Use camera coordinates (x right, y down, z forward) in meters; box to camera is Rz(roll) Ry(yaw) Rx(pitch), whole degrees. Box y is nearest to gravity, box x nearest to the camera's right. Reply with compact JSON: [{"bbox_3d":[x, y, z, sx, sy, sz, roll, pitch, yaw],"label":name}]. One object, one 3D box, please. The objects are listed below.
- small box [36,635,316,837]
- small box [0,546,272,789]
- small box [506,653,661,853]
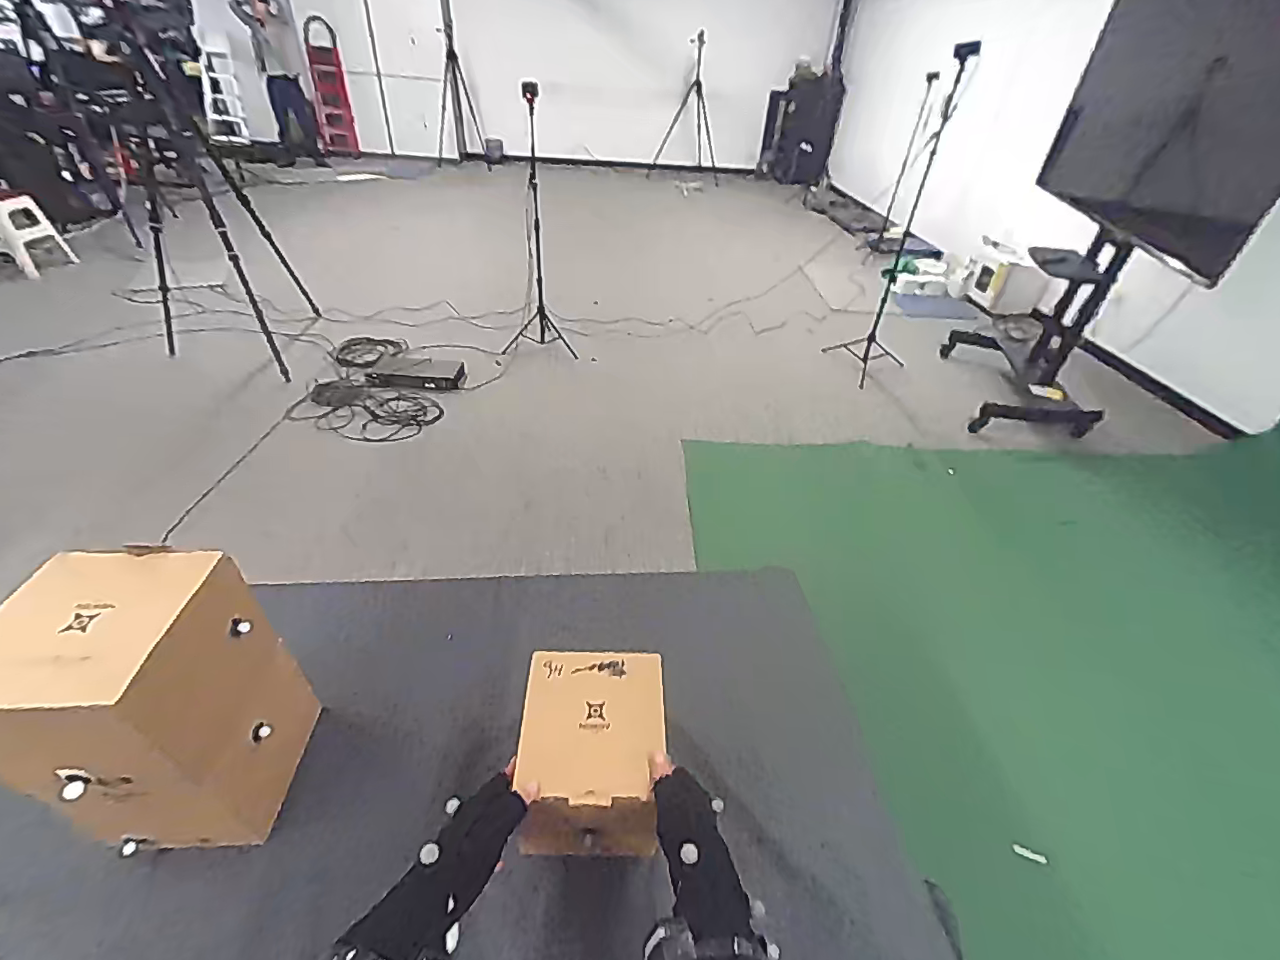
[{"bbox_3d":[-0.528,0.310,0.656,0.168,0.176,0.179,2,38,-5],"label":"small box"},{"bbox_3d":[-0.515,0.187,0.551,0.168,0.176,0.179,0,40,-5],"label":"small box"},{"bbox_3d":[-0.062,0.340,0.672,0.168,0.176,0.179,3,39,-3],"label":"small box"}]
